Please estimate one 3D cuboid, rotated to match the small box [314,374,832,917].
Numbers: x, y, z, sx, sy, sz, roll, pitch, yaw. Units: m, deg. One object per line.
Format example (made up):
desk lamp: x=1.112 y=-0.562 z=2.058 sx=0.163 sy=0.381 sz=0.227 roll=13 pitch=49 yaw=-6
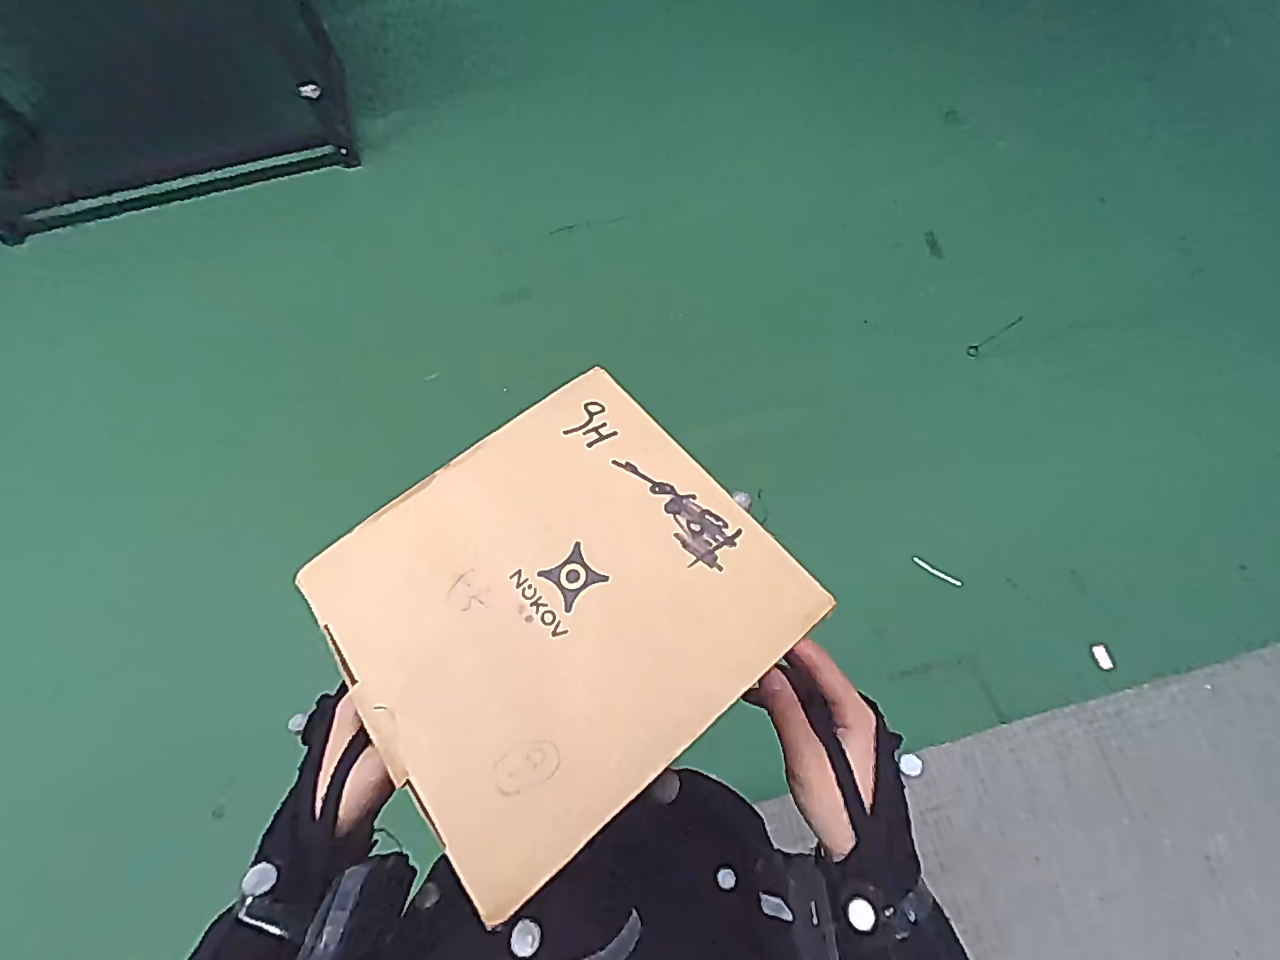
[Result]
small box: x=-0.028 y=0.083 z=0.306 sx=0.179 sy=0.176 sz=0.168 roll=-37 pitch=68 yaw=-13
